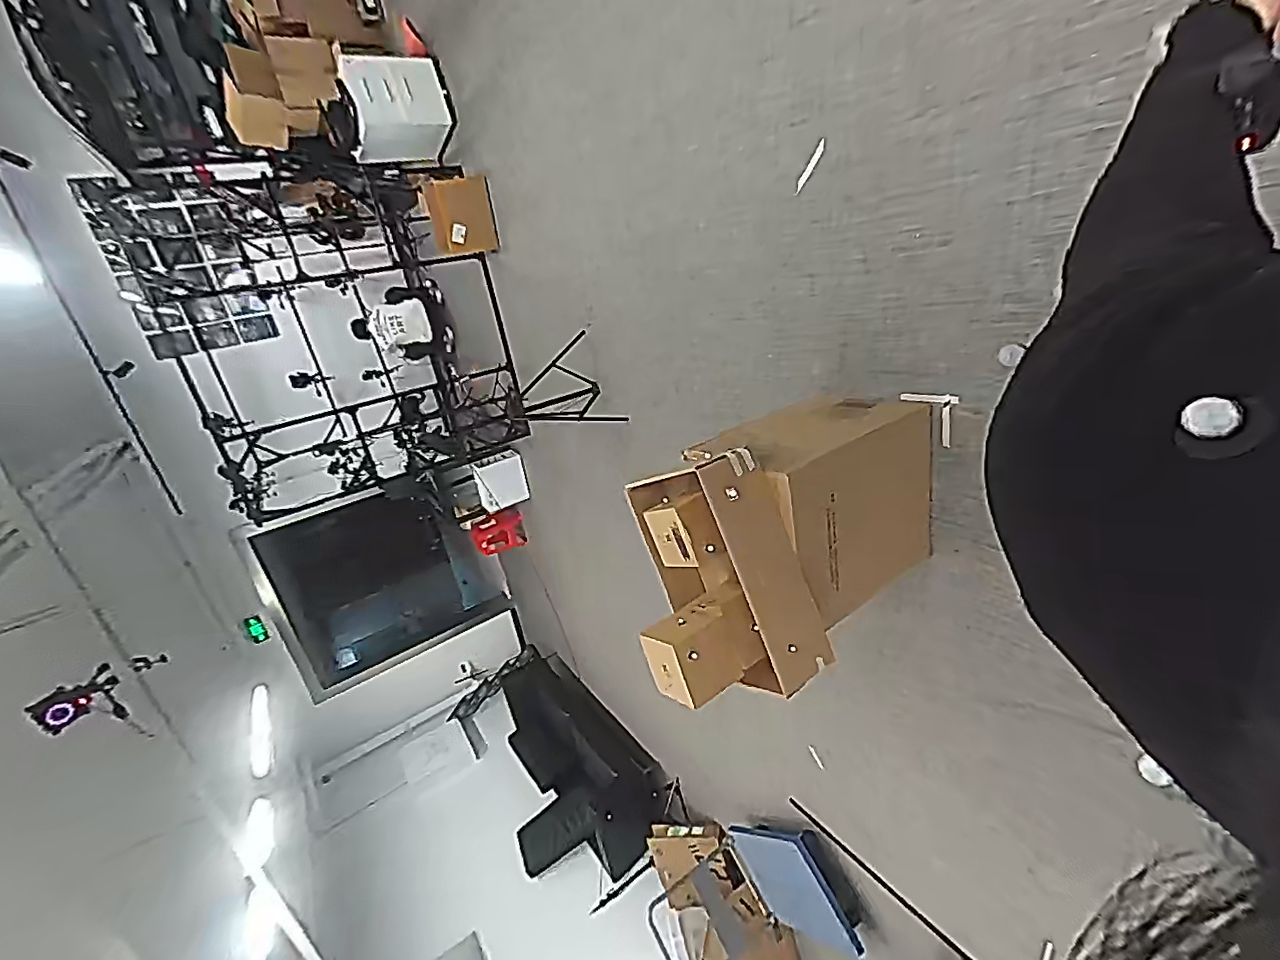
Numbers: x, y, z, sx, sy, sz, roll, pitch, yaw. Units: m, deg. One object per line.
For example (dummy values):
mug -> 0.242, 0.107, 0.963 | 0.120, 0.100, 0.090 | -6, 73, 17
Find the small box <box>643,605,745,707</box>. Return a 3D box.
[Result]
small box -> 0.139, 0.440, 1.387 | 0.168, 0.176, 0.179 | -7, 105, 60
